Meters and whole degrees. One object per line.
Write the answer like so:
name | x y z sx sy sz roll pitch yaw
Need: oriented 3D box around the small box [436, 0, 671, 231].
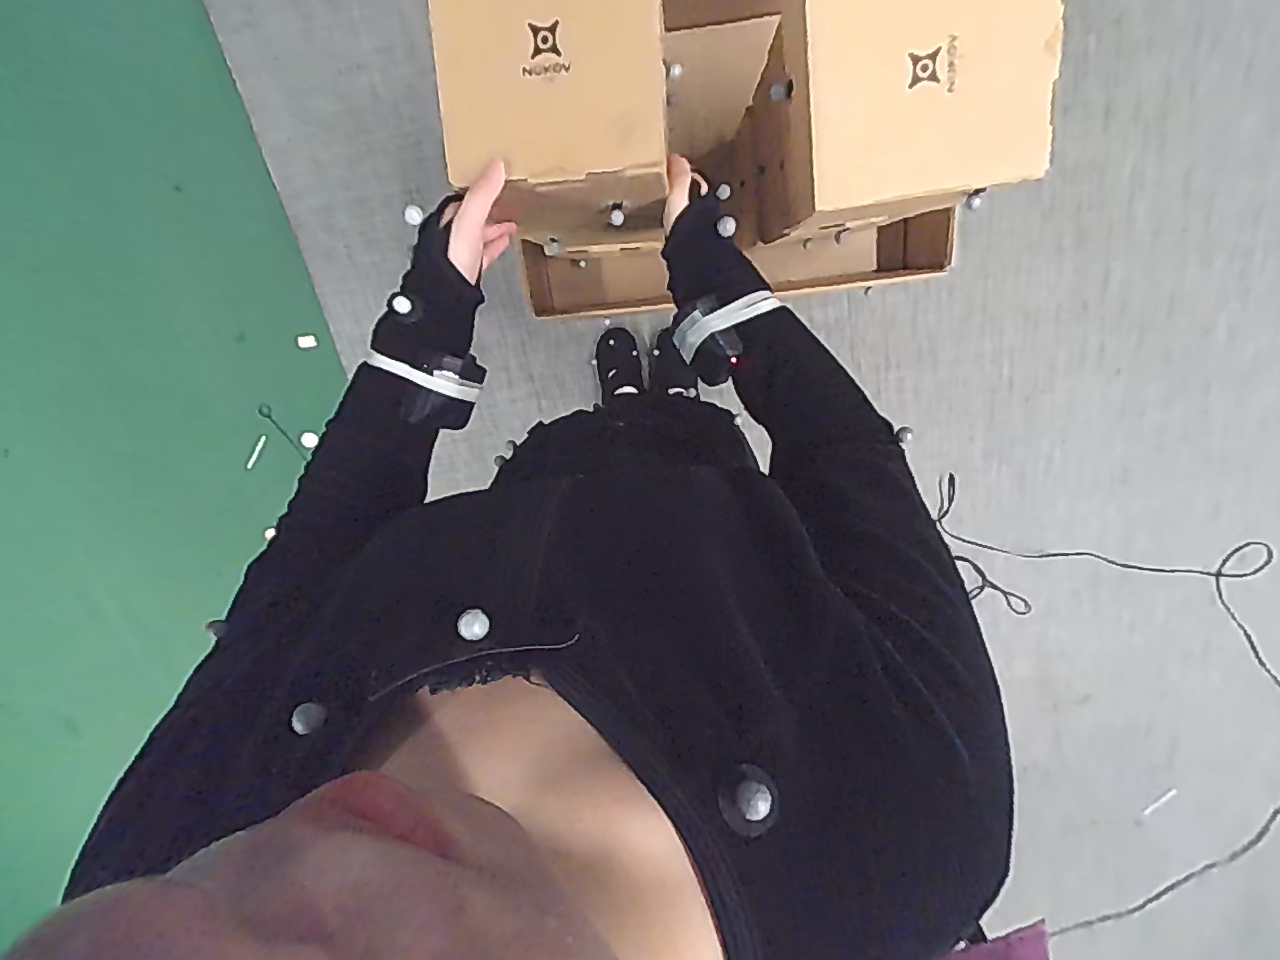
small box | -0.058 -0.324 0.467 0.168 0.176 0.179 -1 102 4

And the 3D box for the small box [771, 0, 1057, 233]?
small box | 0.214 -0.322 0.471 0.179 0.176 0.168 -7 109 5

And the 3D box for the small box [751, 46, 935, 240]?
small box | 0.226 -0.381 0.623 0.168 0.176 0.179 -7 110 5
